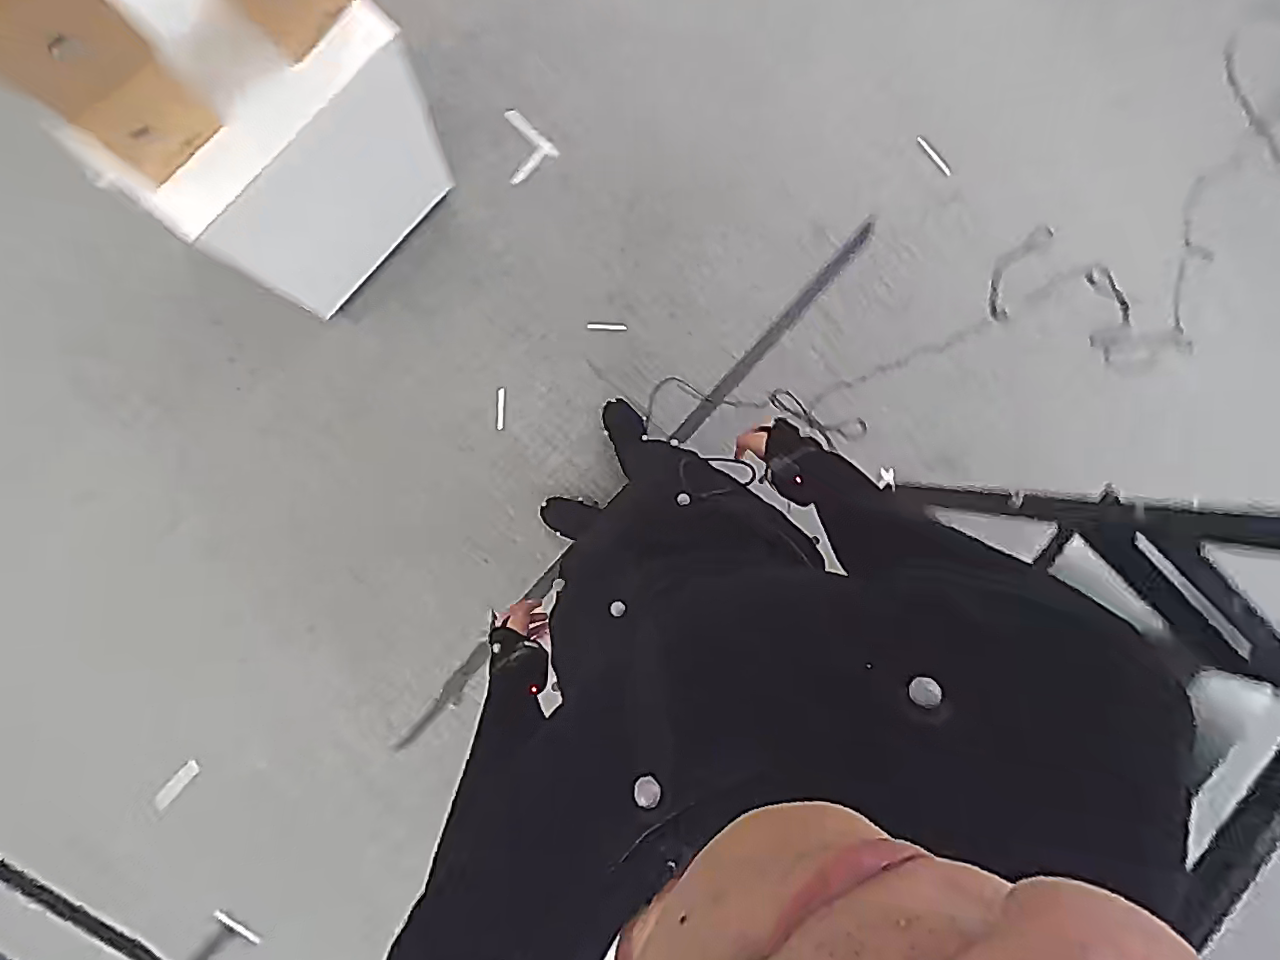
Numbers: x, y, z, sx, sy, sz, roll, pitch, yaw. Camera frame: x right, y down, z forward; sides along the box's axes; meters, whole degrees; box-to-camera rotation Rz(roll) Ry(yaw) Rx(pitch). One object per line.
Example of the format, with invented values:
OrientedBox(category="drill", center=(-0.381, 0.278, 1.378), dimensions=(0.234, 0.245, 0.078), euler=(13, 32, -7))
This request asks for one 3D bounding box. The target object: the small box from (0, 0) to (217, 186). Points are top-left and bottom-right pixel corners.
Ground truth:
OrientedBox(category="small box", center=(-0.805, -0.583, 0.815), dimensions=(0.179, 0.176, 0.168), euler=(41, 86, -8))

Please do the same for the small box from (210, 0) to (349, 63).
OrientedBox(category="small box", center=(-0.598, -0.811, 0.834), dimensions=(0.179, 0.176, 0.168), euler=(38, 88, -8))
